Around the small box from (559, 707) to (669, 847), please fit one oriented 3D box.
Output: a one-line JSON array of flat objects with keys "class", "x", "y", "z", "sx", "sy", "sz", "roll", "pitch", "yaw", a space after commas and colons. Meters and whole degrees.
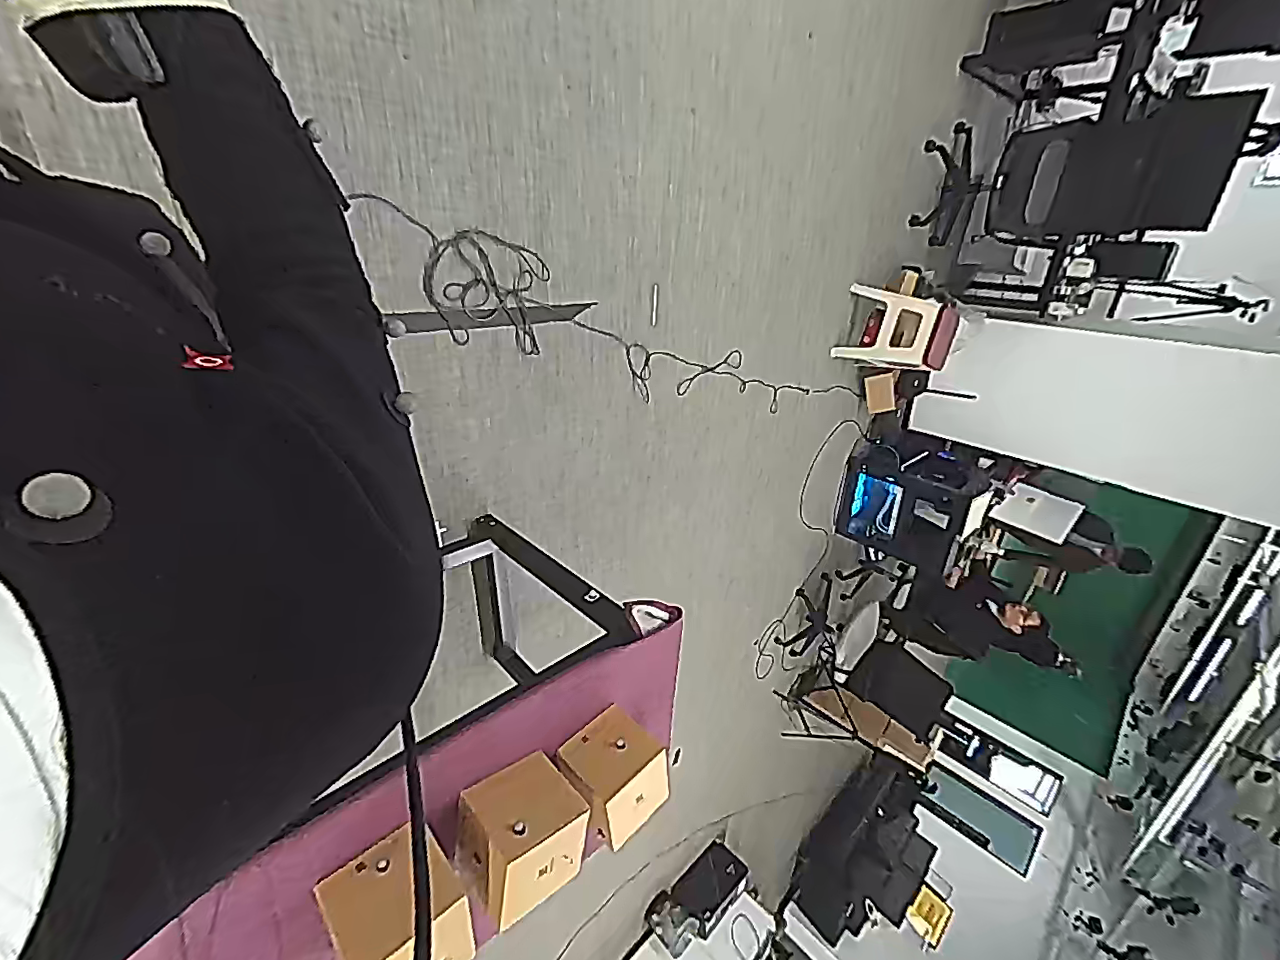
[{"class": "small box", "x": -0.057, "y": 0.622, "z": 1.161, "sx": 0.168, "sy": 0.176, "sz": 0.179, "roll": -28, "pitch": 127, "yaw": -35}]
